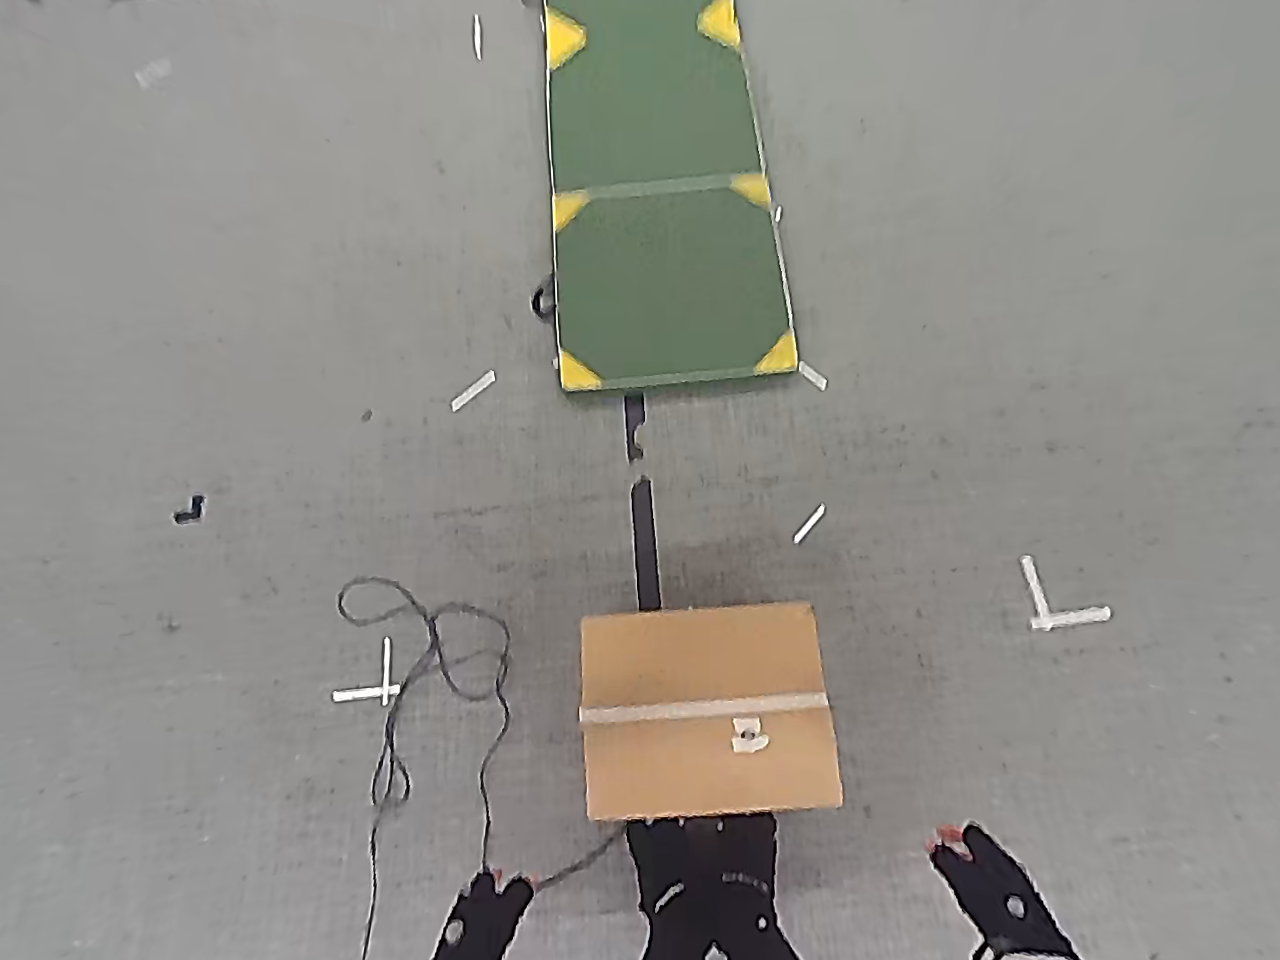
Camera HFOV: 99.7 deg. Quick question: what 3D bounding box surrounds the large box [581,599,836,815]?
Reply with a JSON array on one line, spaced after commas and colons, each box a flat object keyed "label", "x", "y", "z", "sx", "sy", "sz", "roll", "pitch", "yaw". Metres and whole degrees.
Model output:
[{"label": "large box", "x": 0.108, "y": 0.417, "z": 1.046, "sx": 0.408, "sy": 0.320, "sz": 0.320, "roll": -4, "pitch": 73, "yaw": 1}]
